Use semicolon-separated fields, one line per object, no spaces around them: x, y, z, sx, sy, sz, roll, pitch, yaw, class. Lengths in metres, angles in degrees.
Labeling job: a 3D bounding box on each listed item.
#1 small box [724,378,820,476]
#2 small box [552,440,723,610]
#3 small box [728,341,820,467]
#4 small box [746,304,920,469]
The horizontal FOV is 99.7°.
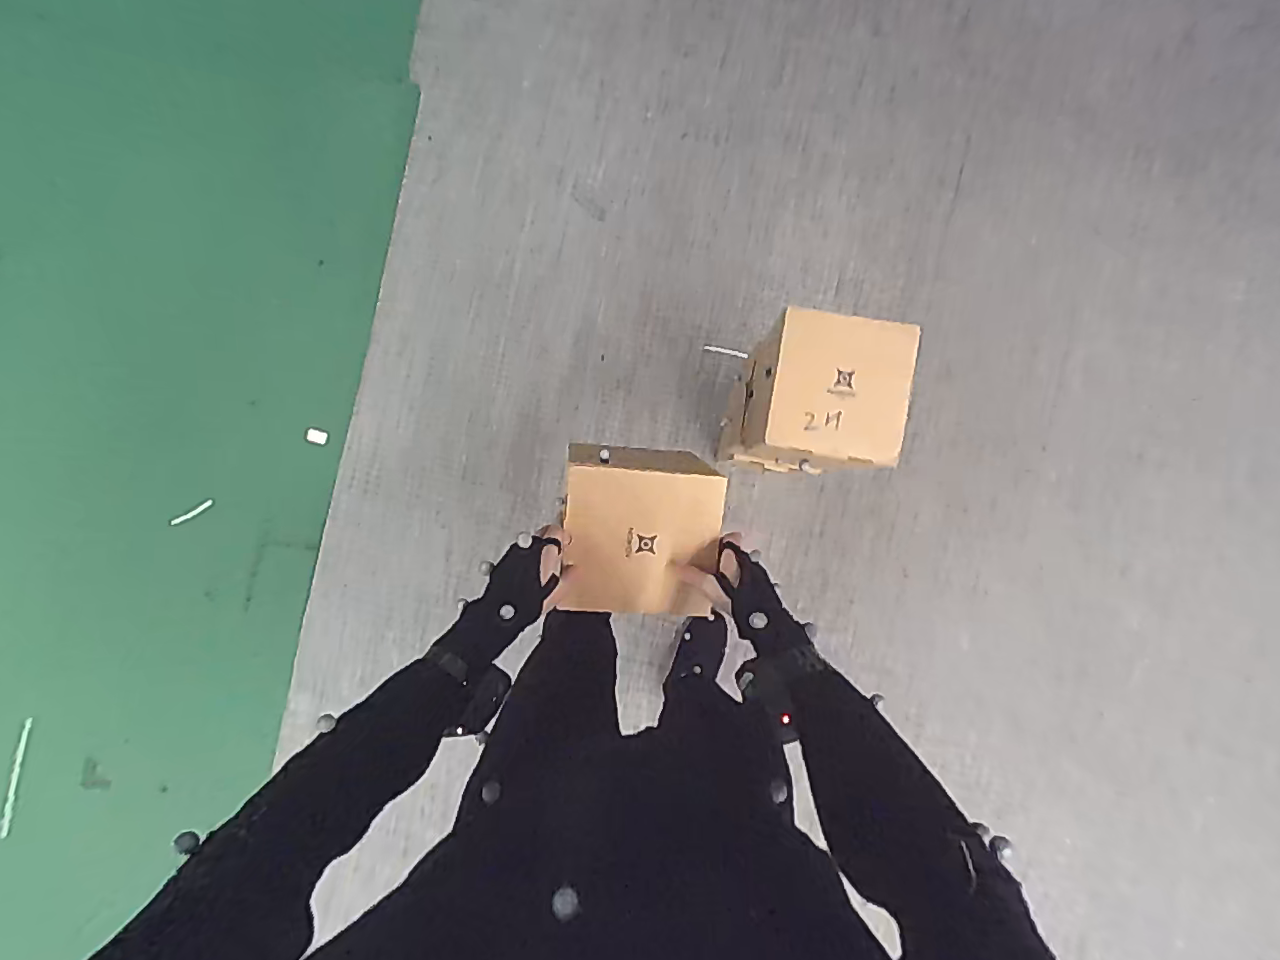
0.265;-0.108;1.064;0.168;0.176;0.179;10;91;2;small box
-0.011;0.046;0.667;0.179;0.176;0.168;4;101;-6;small box
0.252;-0.116;0.900;0.179;0.176;0.168;11;90;2;small box
0.247;-0.116;0.735;0.168;0.176;0.179;10;90;3;small box
